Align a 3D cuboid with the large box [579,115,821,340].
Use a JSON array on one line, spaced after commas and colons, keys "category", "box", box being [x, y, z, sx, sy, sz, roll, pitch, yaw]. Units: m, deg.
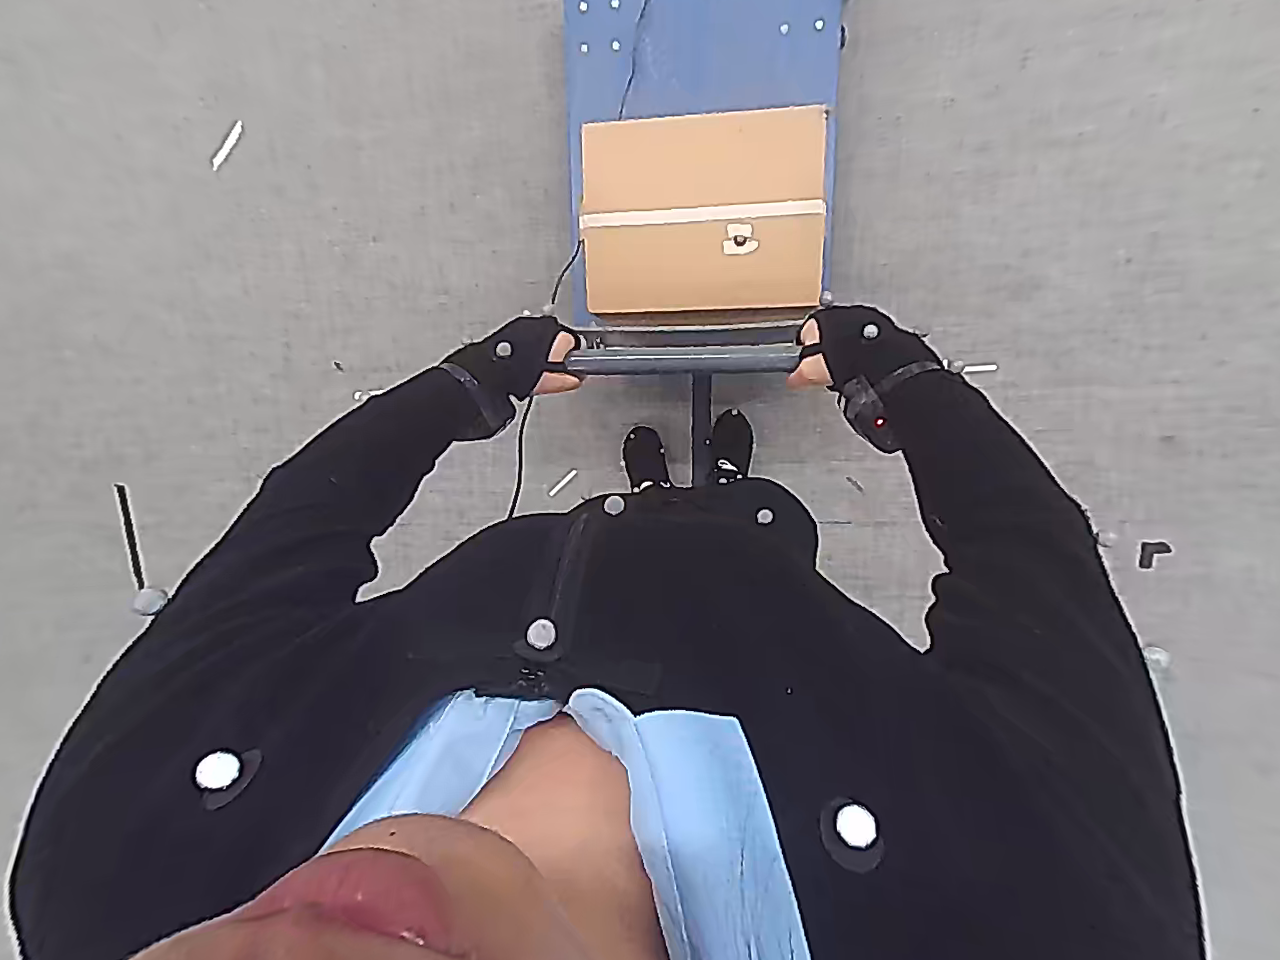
[{"category": "large box", "box": [0.113, -0.455, 1.058, 0.408, 0.320, 0.320, 0, 100, 7]}]
